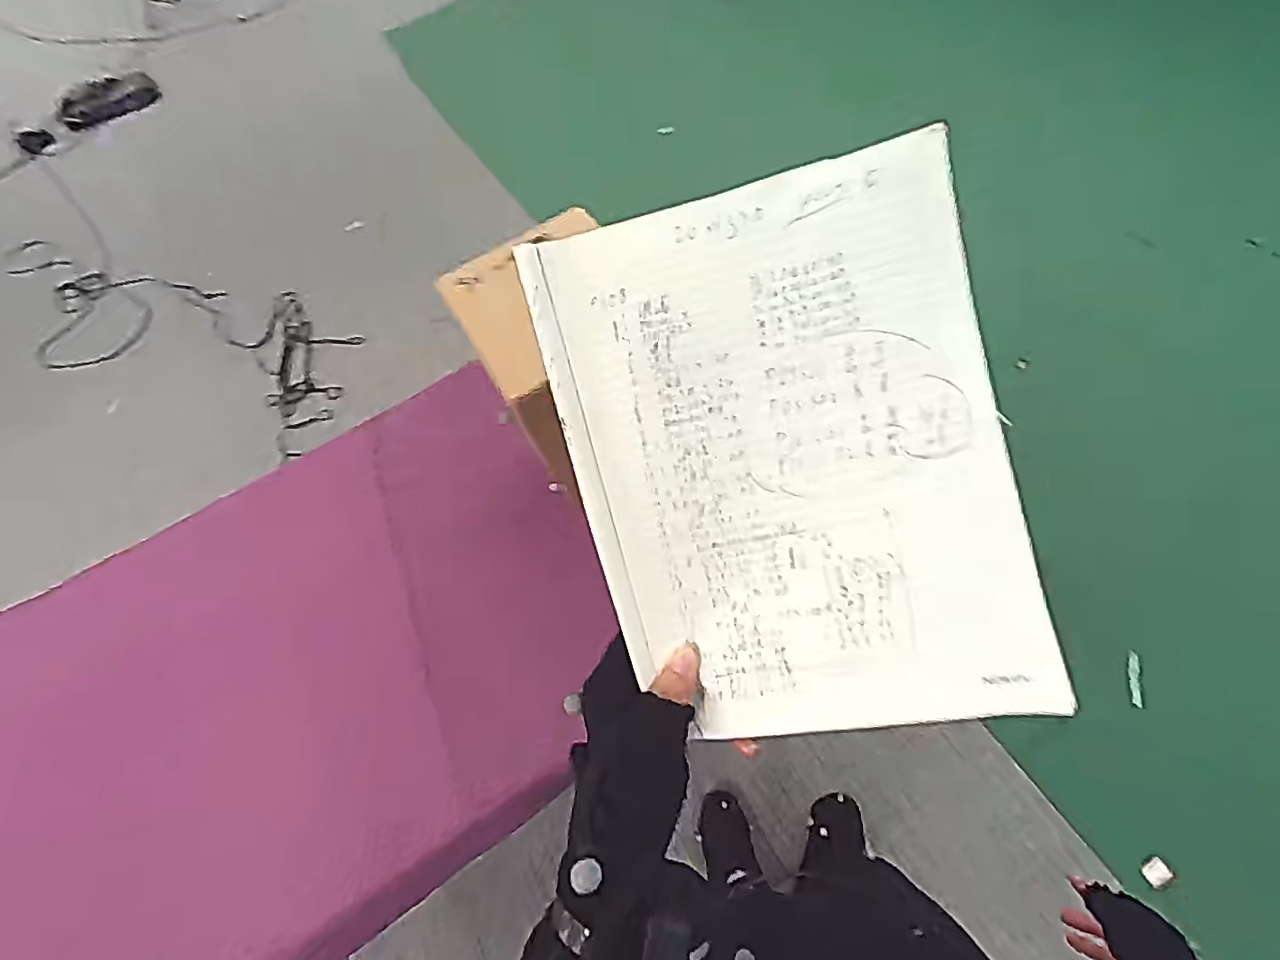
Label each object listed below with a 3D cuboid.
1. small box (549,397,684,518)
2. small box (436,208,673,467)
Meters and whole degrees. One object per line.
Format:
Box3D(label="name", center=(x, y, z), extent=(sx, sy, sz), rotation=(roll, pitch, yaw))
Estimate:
Box3D(label="small box", center=(-0.053, -0.069, 0.717), extent=(0.168, 0.176, 0.179), rotation=(-31, 65, -8))
Box3D(label="small box", center=(-0.076, -0.135, 0.568), extent=(0.168, 0.176, 0.179), rotation=(-31, 66, -9))
